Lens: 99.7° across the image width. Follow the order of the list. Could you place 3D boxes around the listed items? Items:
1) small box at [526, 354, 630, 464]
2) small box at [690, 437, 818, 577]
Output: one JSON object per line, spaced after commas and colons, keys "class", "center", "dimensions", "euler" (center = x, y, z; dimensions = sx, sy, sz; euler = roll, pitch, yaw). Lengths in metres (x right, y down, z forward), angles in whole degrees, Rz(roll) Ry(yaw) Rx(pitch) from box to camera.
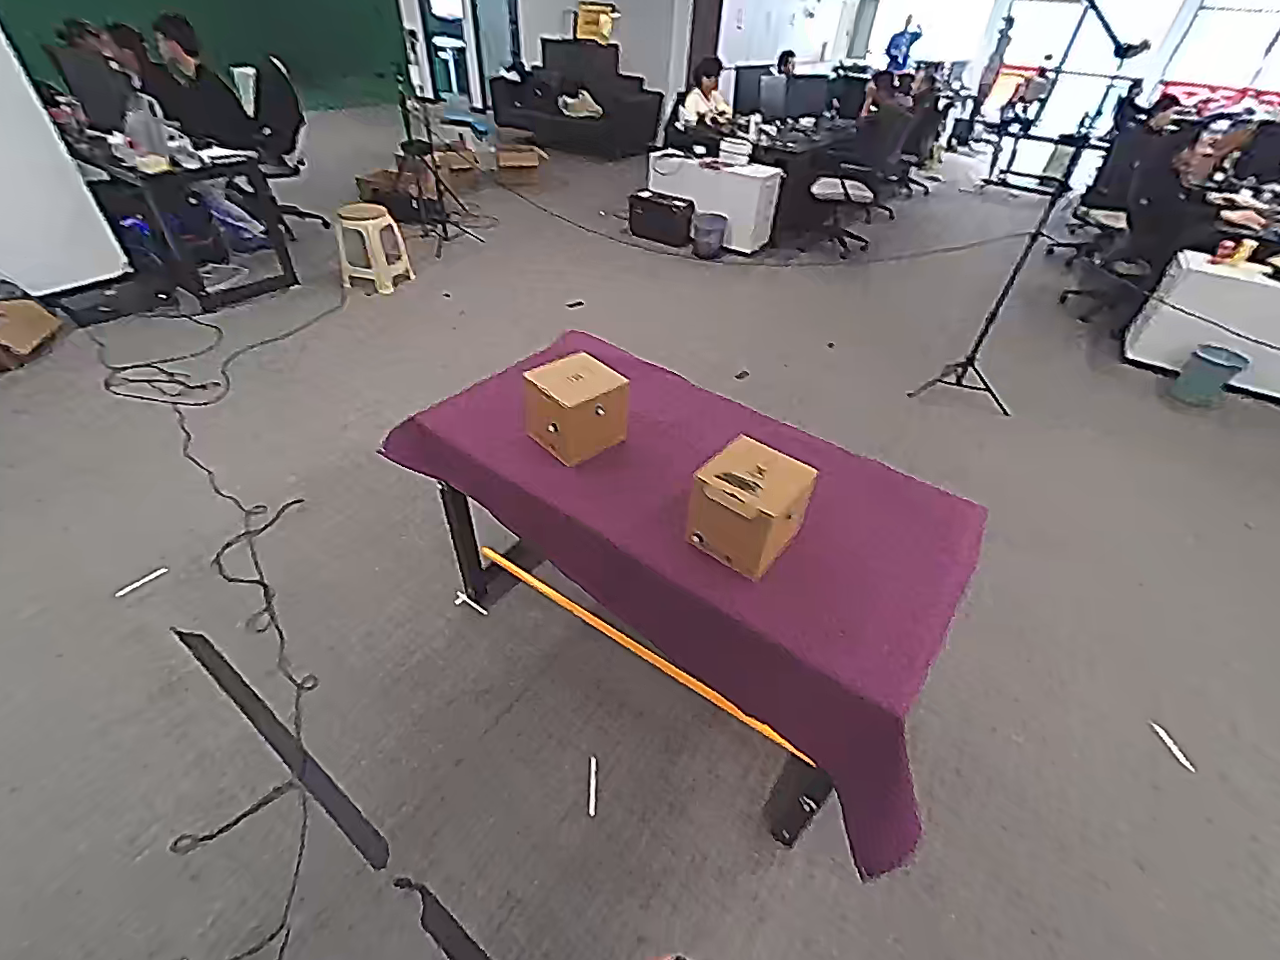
{"class": "small box", "center": [-0.141, -0.163, 1.249], "dimensions": [0.179, 0.176, 0.168], "euler": [-29, 52, -33]}
{"class": "small box", "center": [0.210, 0.052, 1.033], "dimensions": [0.168, 0.176, 0.179], "euler": [30, 46, 27]}
